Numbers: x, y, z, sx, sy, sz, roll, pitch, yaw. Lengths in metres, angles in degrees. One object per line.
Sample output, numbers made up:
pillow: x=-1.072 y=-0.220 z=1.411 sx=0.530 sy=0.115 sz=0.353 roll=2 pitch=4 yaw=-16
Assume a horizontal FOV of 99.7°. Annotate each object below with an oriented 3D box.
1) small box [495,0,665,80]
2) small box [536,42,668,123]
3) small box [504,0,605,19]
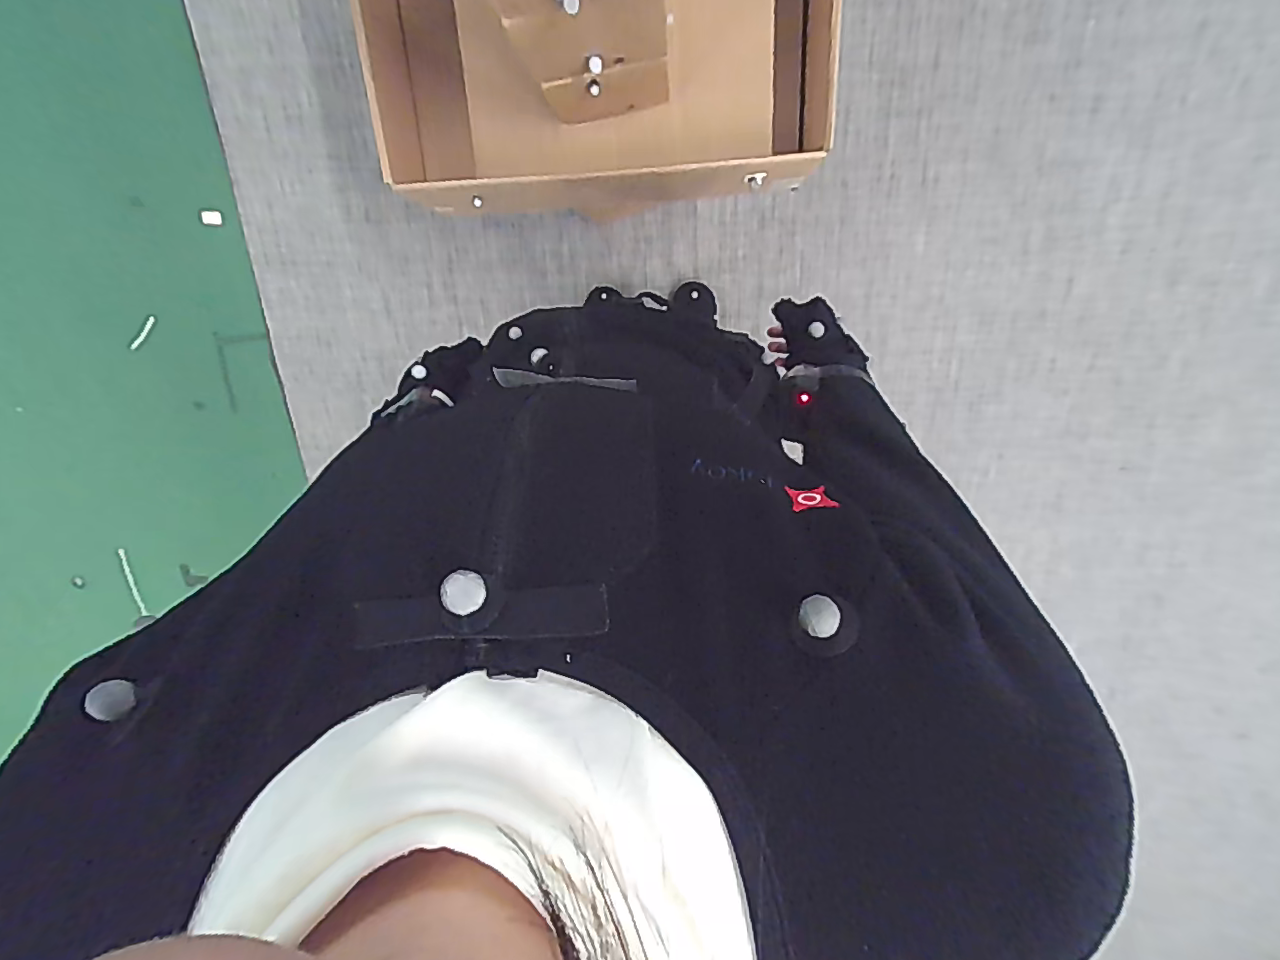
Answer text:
small box: x=-0.066 y=-0.566 z=0.570 sx=0.168 sy=0.176 sz=0.179 roll=-7 pitch=109 yaw=7
small box: x=-0.056 y=-0.618 z=0.726 sx=0.168 sy=0.176 sz=0.179 roll=-8 pitch=108 yaw=8
small box: x=-0.071 y=-0.513 z=0.418 sx=0.168 sy=0.176 sz=0.179 roll=-6 pitch=110 yaw=8
